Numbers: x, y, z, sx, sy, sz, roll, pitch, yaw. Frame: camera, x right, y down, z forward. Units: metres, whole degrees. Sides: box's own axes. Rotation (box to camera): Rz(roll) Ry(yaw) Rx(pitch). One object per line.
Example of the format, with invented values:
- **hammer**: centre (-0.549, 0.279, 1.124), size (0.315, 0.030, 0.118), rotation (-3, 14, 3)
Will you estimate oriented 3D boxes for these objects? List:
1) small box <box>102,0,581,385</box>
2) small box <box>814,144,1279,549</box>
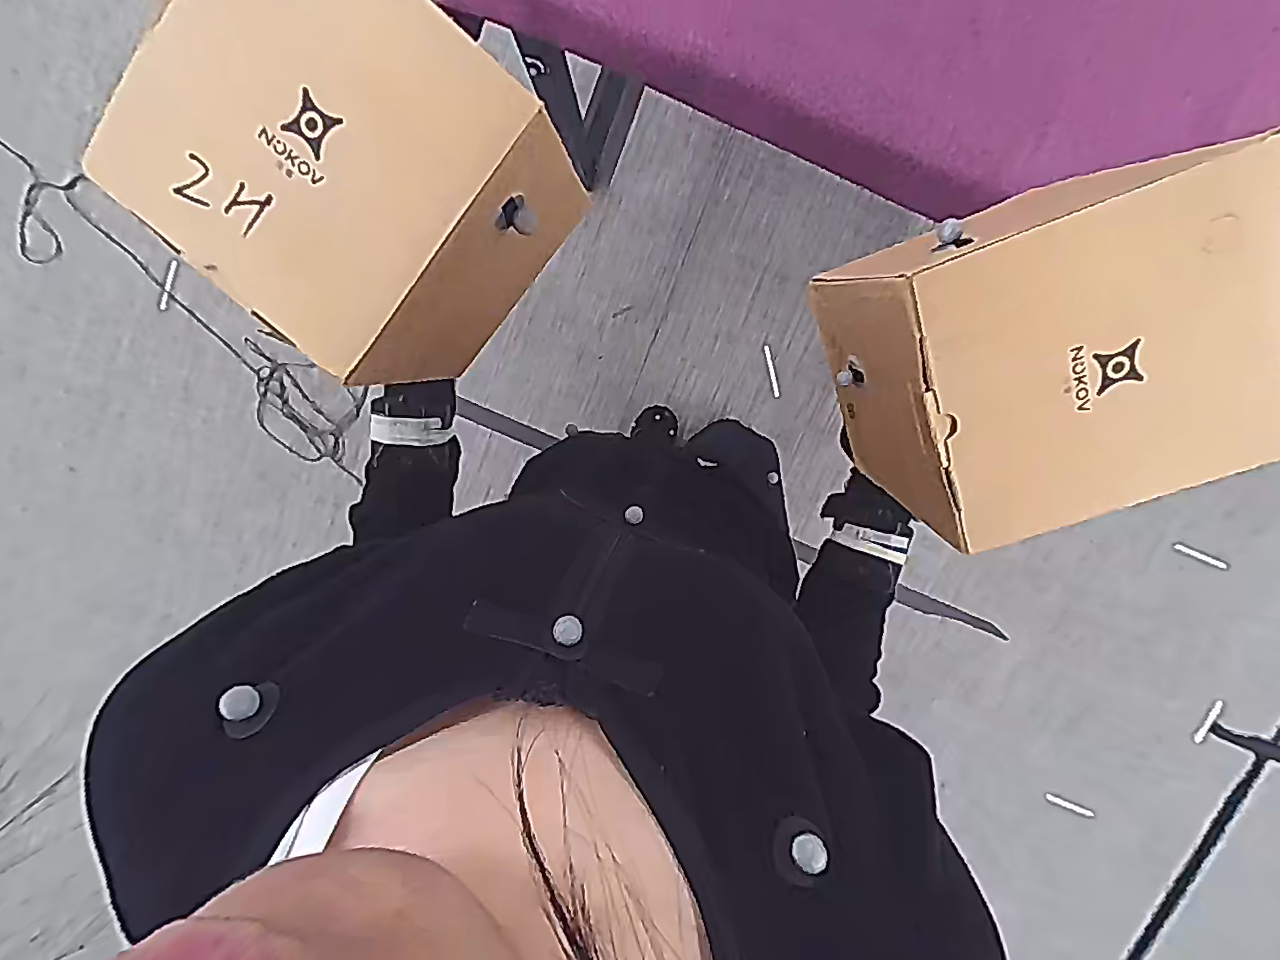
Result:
- **small box**: centre (-0.154, -0.183, 0.344), size (0.168, 0.176, 0.179), rotation (40, 102, -6)
- **small box**: centre (0.241, -0.085, 0.358), size (0.179, 0.176, 0.168), rotation (-20, 108, 8)
